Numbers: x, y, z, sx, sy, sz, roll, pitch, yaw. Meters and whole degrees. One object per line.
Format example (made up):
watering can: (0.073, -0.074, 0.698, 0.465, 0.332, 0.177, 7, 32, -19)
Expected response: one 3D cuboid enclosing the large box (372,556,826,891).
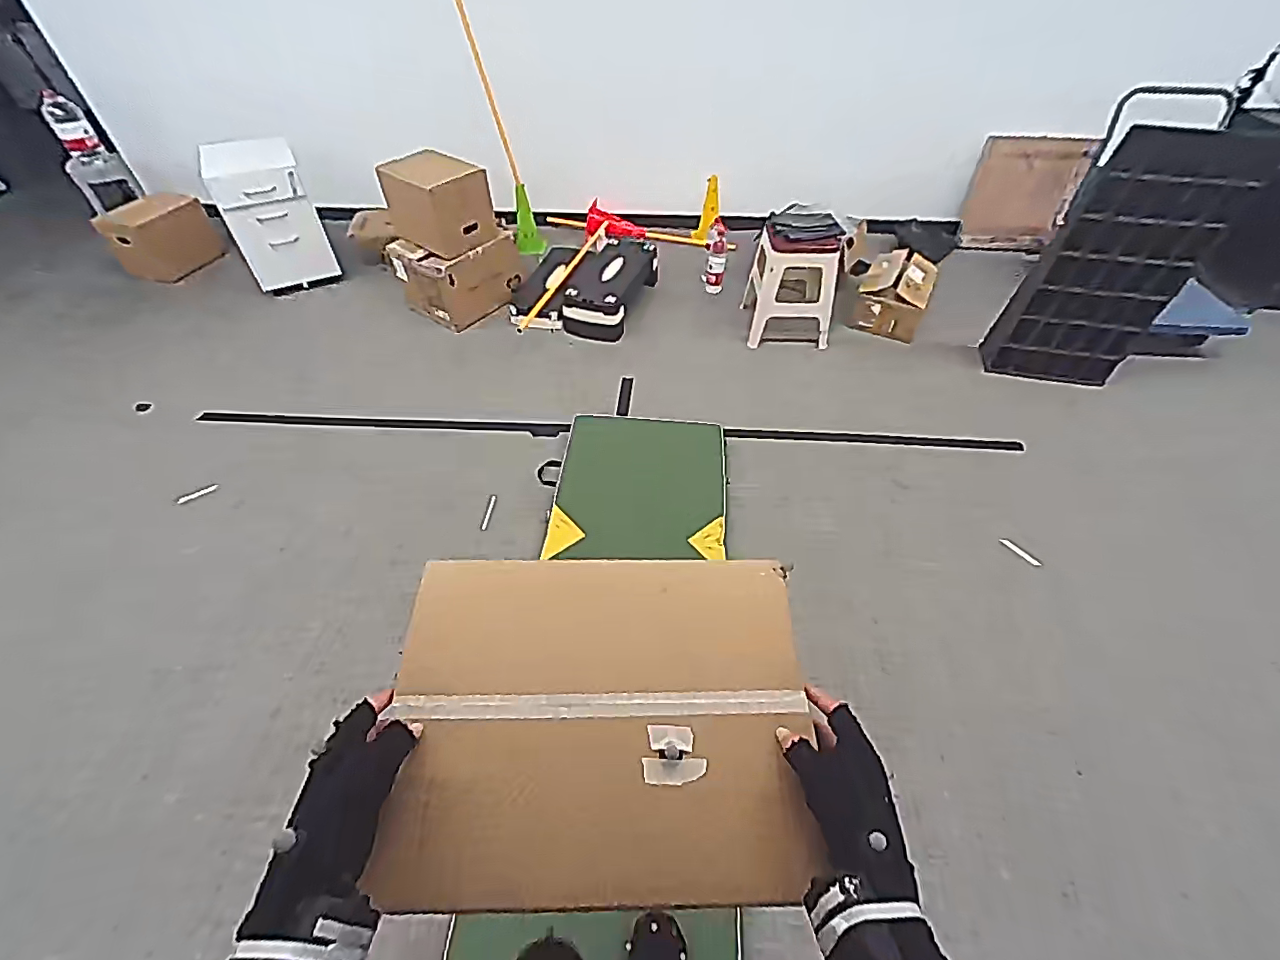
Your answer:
large box: (-0.043, 0.302, 0.672, 0.408, 0.320, 0.320, 0, 56, -3)
